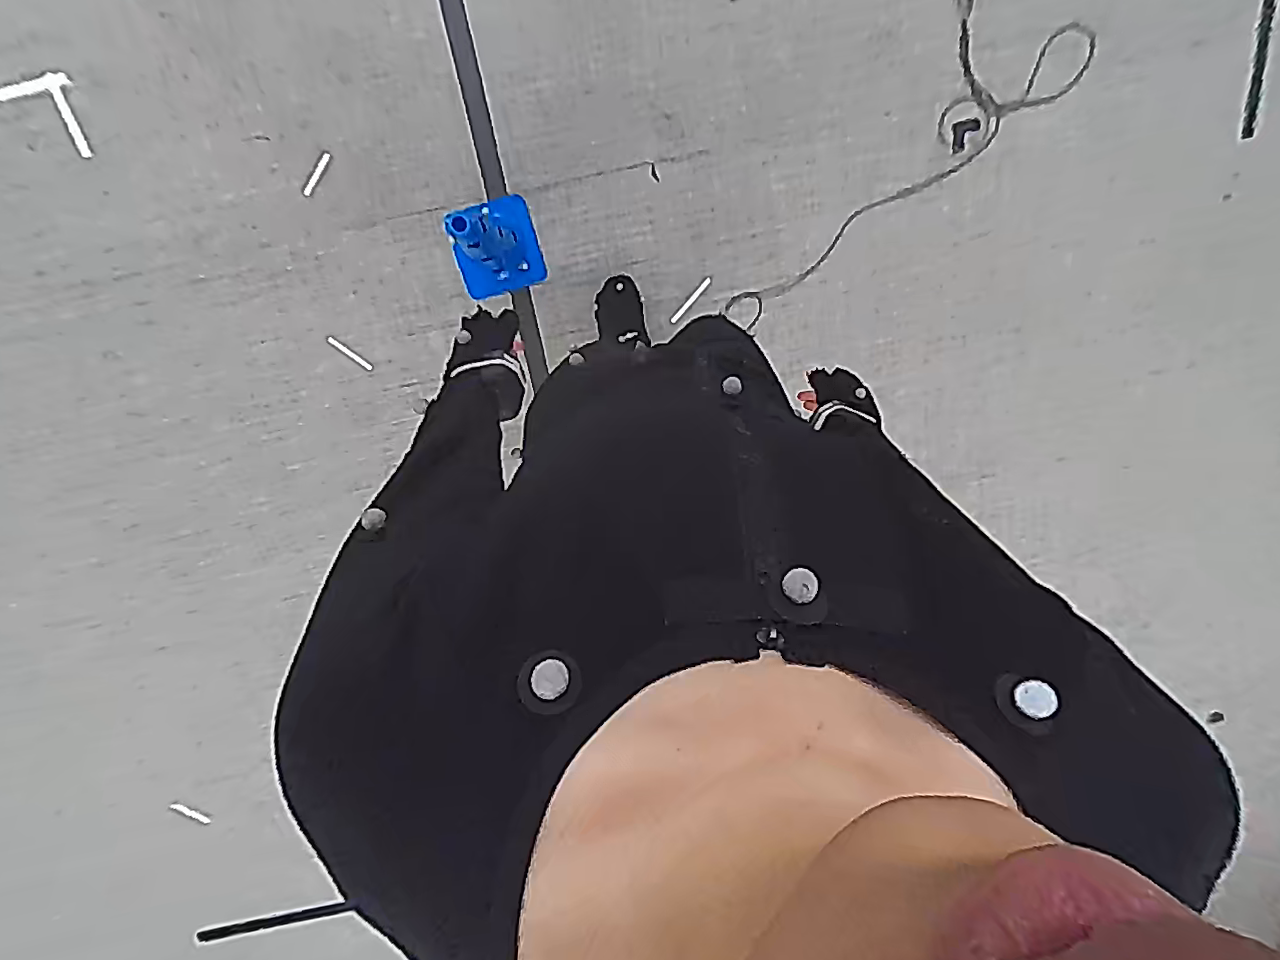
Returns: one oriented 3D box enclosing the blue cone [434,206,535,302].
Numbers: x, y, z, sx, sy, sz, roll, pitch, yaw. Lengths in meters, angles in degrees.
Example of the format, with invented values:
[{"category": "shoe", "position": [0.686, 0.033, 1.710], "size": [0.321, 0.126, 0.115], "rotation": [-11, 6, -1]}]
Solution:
[{"category": "blue cone", "position": [-0.349, -0.494, 1.135], "size": [0.192, 0.380, 0.193], "rotation": [-15, 107, 1]}]
